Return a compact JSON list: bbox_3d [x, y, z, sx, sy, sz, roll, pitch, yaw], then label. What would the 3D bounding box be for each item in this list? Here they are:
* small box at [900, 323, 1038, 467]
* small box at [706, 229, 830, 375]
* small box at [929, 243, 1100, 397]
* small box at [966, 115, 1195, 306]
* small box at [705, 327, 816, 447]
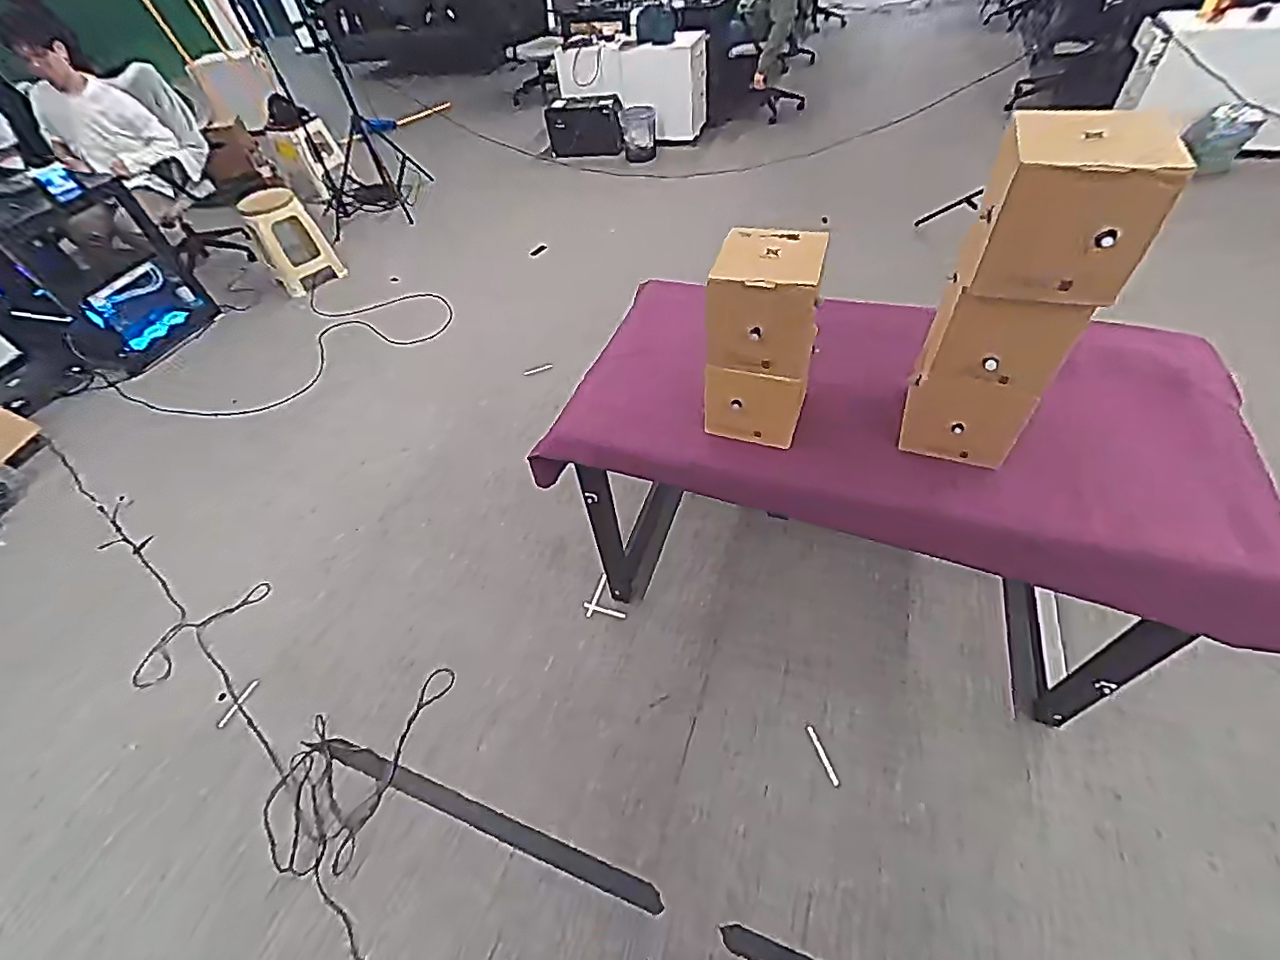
[{"bbox_3d":[0.573,-0.148,0.954,0.168,0.176,0.179,15,53,19],"label":"small box"},{"bbox_3d":[0.214,-0.299,0.913,0.168,0.176,0.179,12,52,16],"label":"small box"},{"bbox_3d":[0.562,-0.257,0.831,0.168,0.176,0.179,15,53,19],"label":"small box"},{"bbox_3d":[0.540,-0.345,0.695,0.168,0.176,0.179,13,52,16],"label":"small box"},{"bbox_3d":[0.228,-0.186,1.031,0.168,0.176,0.179,14,51,18],"label":"small box"}]
